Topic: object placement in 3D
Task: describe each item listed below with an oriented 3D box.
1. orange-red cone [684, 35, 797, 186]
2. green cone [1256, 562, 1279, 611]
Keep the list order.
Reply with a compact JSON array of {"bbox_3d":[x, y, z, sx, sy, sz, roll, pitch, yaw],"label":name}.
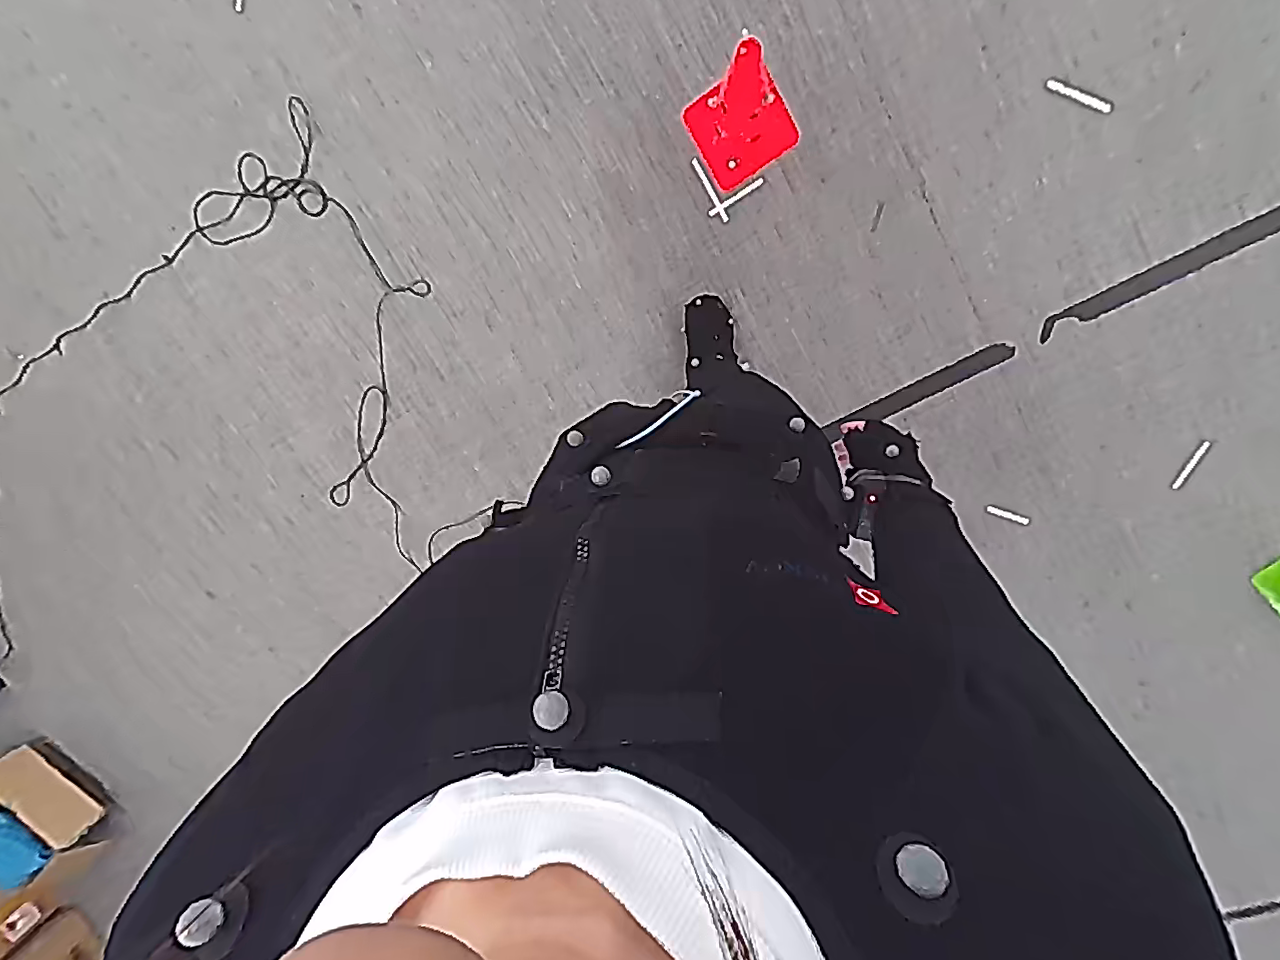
[{"bbox_3d":[0.198,-0.733,1.019,0.199,0.360,0.198,-28,101,14],"label":"orange-red cone"},{"bbox_3d":[1.582,0.289,1.117,0.200,0.368,0.202,45,108,-5],"label":"green cone"}]
